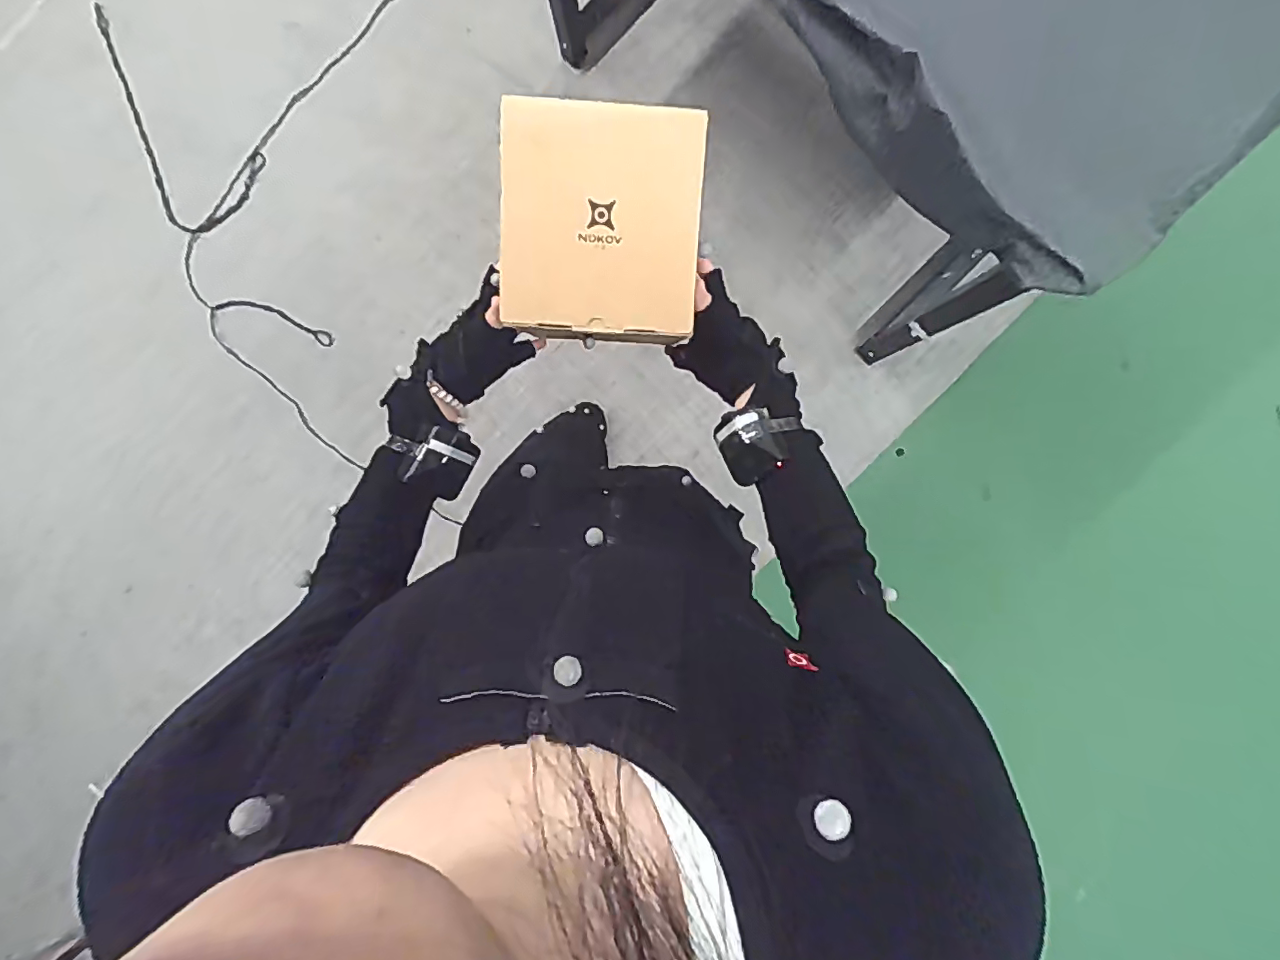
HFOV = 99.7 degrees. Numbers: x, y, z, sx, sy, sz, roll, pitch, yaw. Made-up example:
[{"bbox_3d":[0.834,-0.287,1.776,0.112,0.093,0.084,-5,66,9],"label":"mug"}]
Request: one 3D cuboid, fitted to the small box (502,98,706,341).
[{"bbox_3d":[-0.037,-0.234,0.532,0.168,0.176,0.179,3,103,-3],"label":"small box"}]
